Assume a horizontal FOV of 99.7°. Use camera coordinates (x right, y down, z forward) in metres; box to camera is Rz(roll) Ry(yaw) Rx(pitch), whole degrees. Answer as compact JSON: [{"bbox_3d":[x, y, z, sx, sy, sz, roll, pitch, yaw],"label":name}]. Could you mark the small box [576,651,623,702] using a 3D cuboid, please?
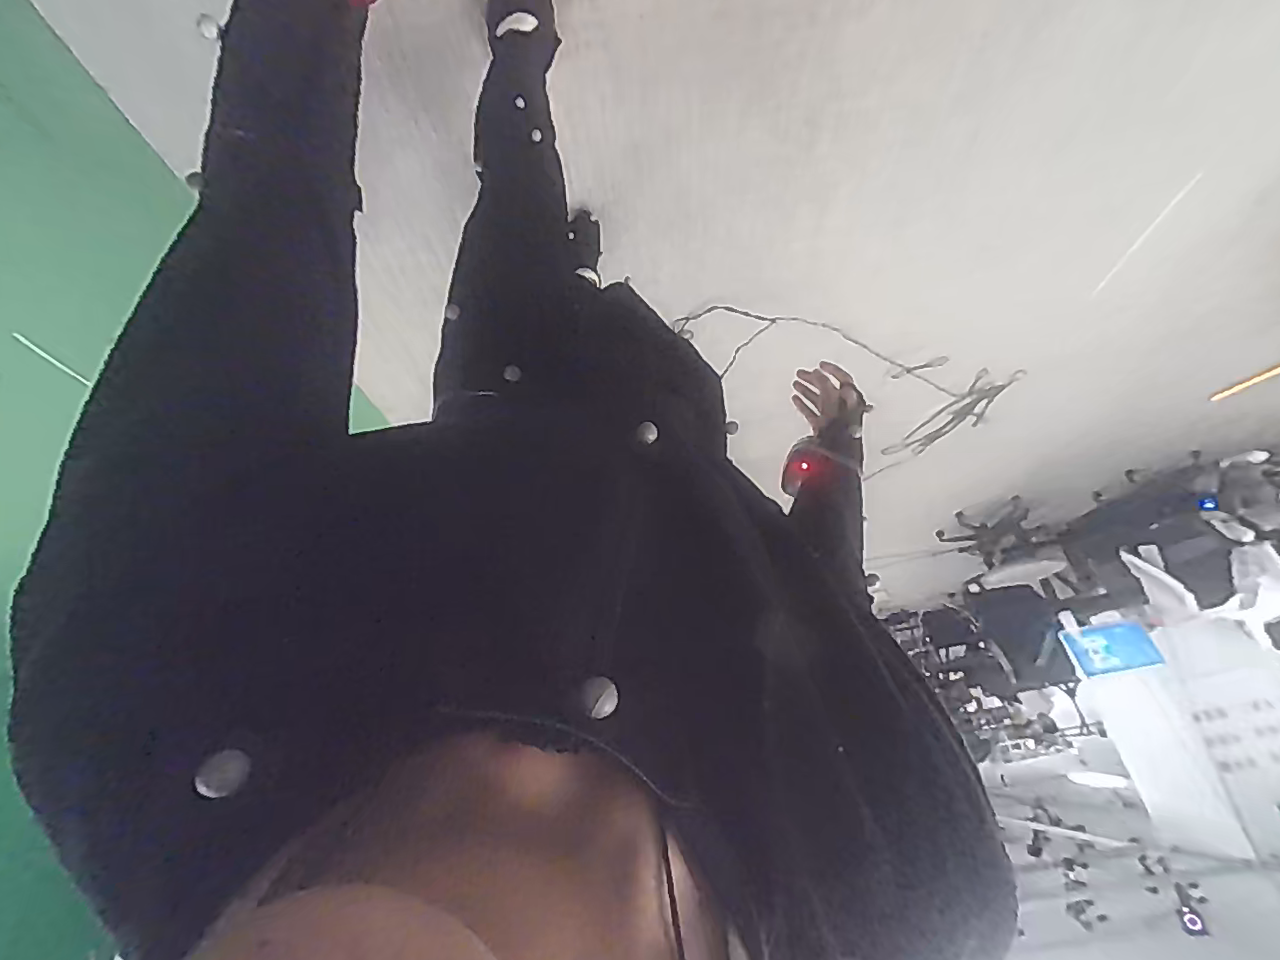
[{"bbox_3d":[-0.170,0.828,2.281,0.168,0.176,0.179,-11,152,0],"label":"small box"}]
